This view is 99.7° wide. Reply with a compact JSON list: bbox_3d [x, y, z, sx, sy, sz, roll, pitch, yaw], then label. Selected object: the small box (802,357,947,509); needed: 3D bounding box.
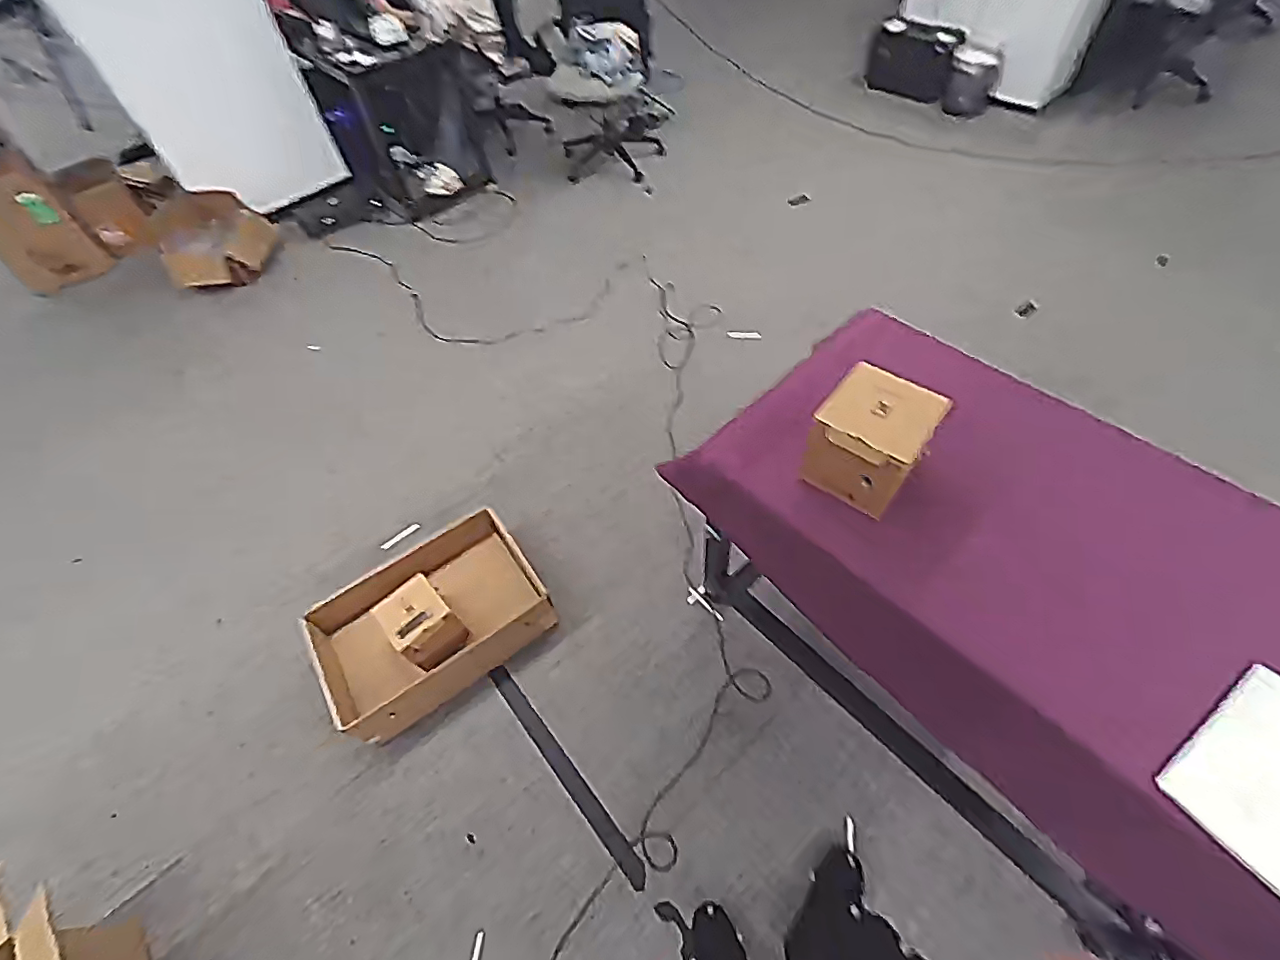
[{"bbox_3d":[0.409,-0.080,0.973,0.168,0.176,0.179,33,64,24],"label":"small box"}]
